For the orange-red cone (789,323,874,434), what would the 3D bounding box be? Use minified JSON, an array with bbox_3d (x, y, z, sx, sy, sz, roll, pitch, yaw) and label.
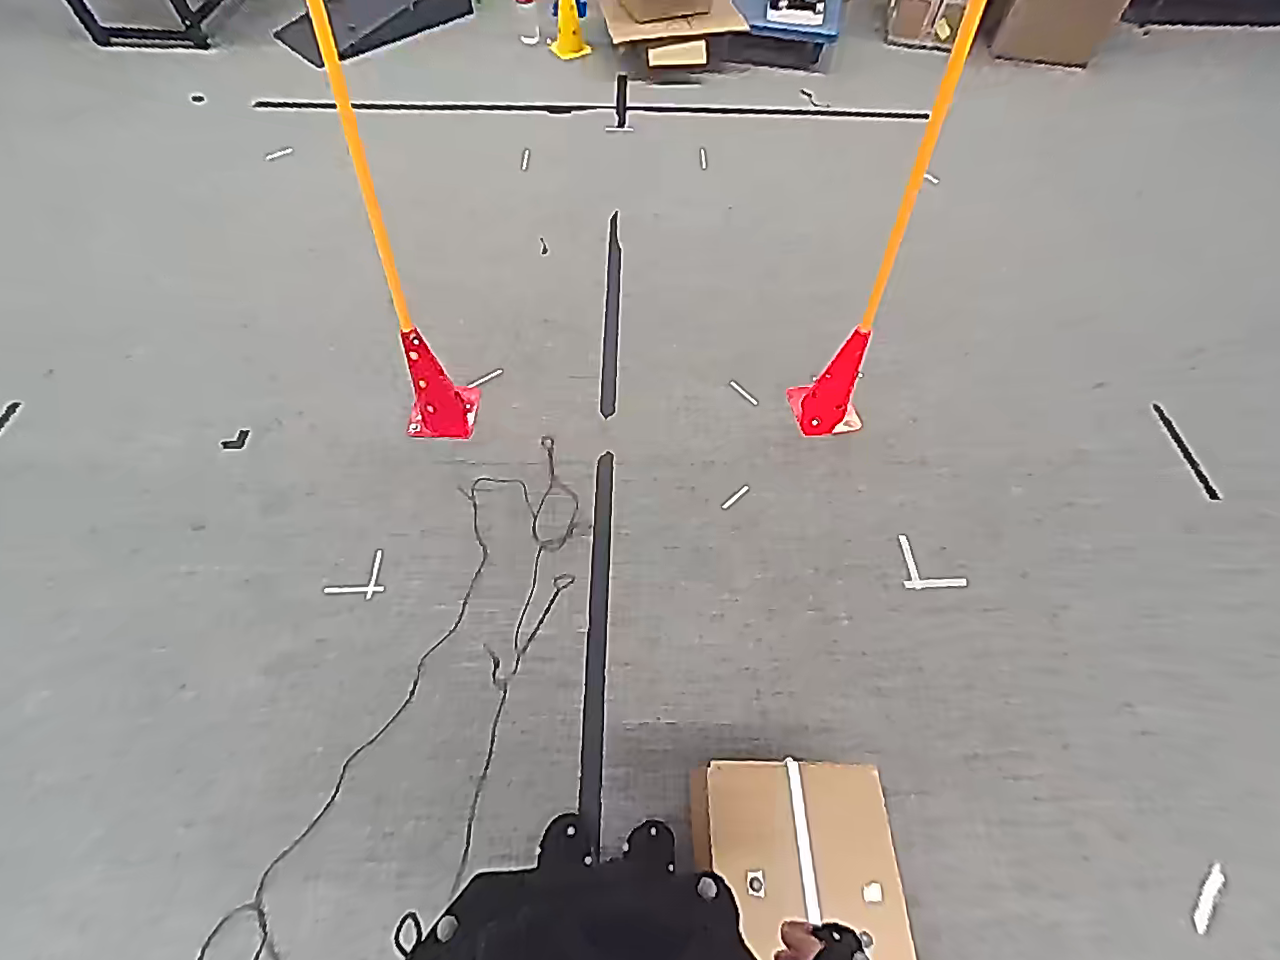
[{"bbox_3d":[0.600,-0.319,1.591,0.199,0.360,0.198,-7,61,-7],"label":"orange-red cone"}]
